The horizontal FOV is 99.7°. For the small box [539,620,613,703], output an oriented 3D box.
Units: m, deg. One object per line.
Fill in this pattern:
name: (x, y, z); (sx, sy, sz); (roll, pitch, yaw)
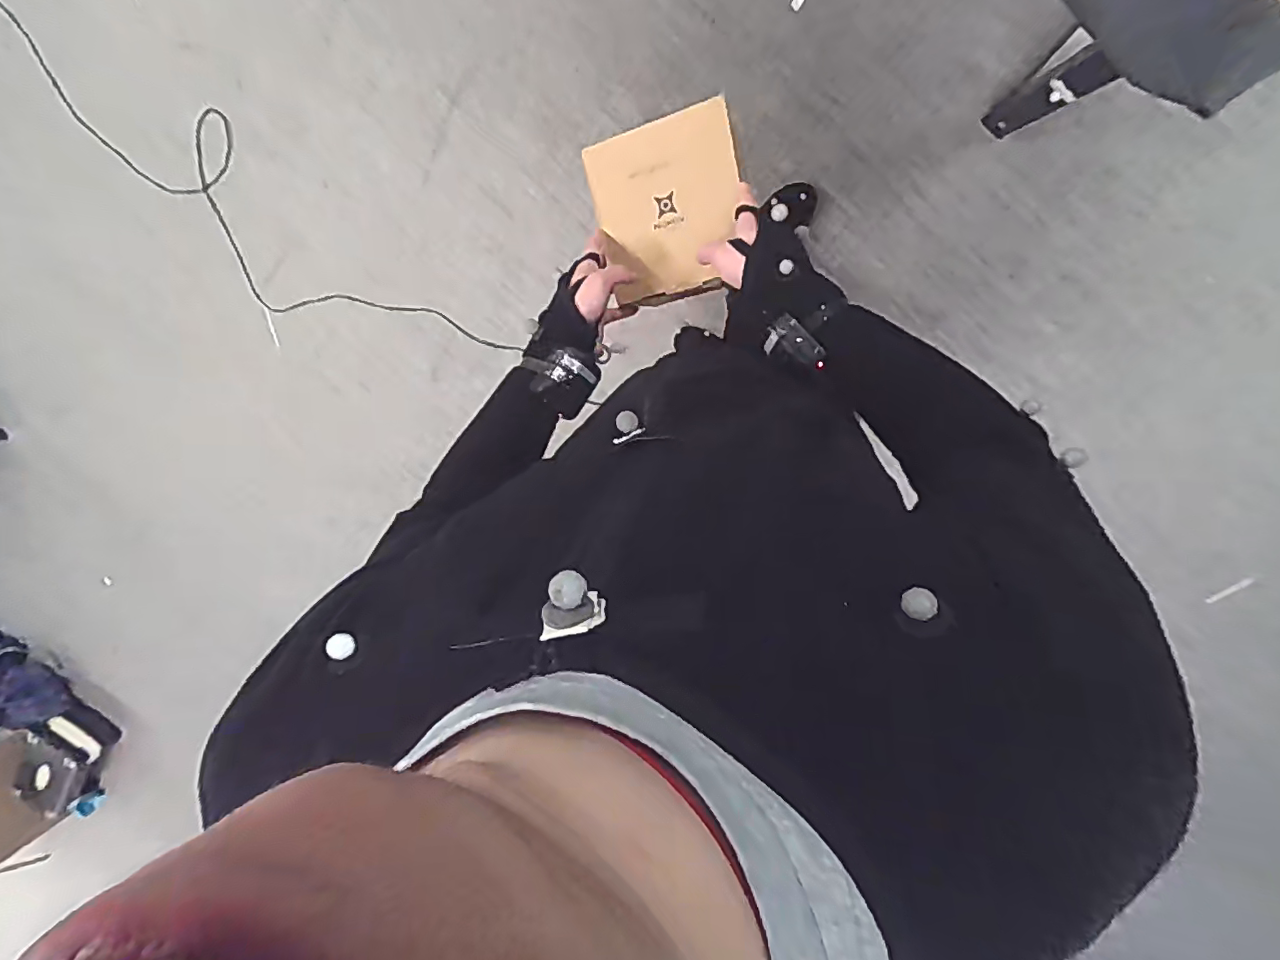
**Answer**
small box: (-0.214, 0.624, 1.869); (0.168, 0.176, 0.179); (41, 115, -7)

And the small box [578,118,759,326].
small box: (0.048, -0.301, 0.669); (0.168, 0.176, 0.179); (-10, 104, 19)
